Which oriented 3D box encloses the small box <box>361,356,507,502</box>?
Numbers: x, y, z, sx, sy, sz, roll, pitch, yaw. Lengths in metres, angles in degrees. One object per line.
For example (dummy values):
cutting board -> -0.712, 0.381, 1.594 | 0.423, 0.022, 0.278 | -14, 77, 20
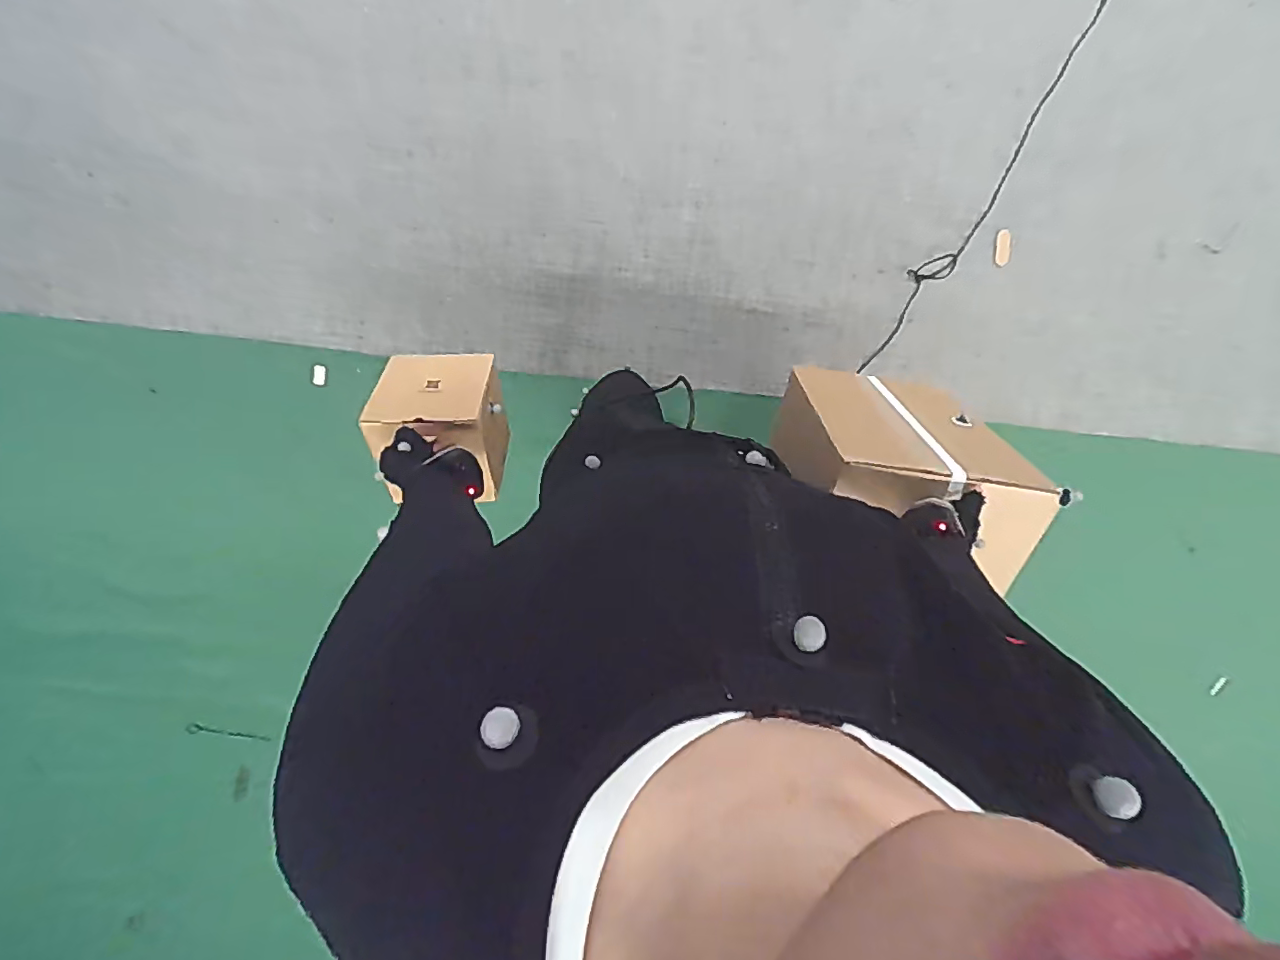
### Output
small box -> -0.317, -0.083, 0.876 | 0.168, 0.179, 0.176 | -1, 136, -2
